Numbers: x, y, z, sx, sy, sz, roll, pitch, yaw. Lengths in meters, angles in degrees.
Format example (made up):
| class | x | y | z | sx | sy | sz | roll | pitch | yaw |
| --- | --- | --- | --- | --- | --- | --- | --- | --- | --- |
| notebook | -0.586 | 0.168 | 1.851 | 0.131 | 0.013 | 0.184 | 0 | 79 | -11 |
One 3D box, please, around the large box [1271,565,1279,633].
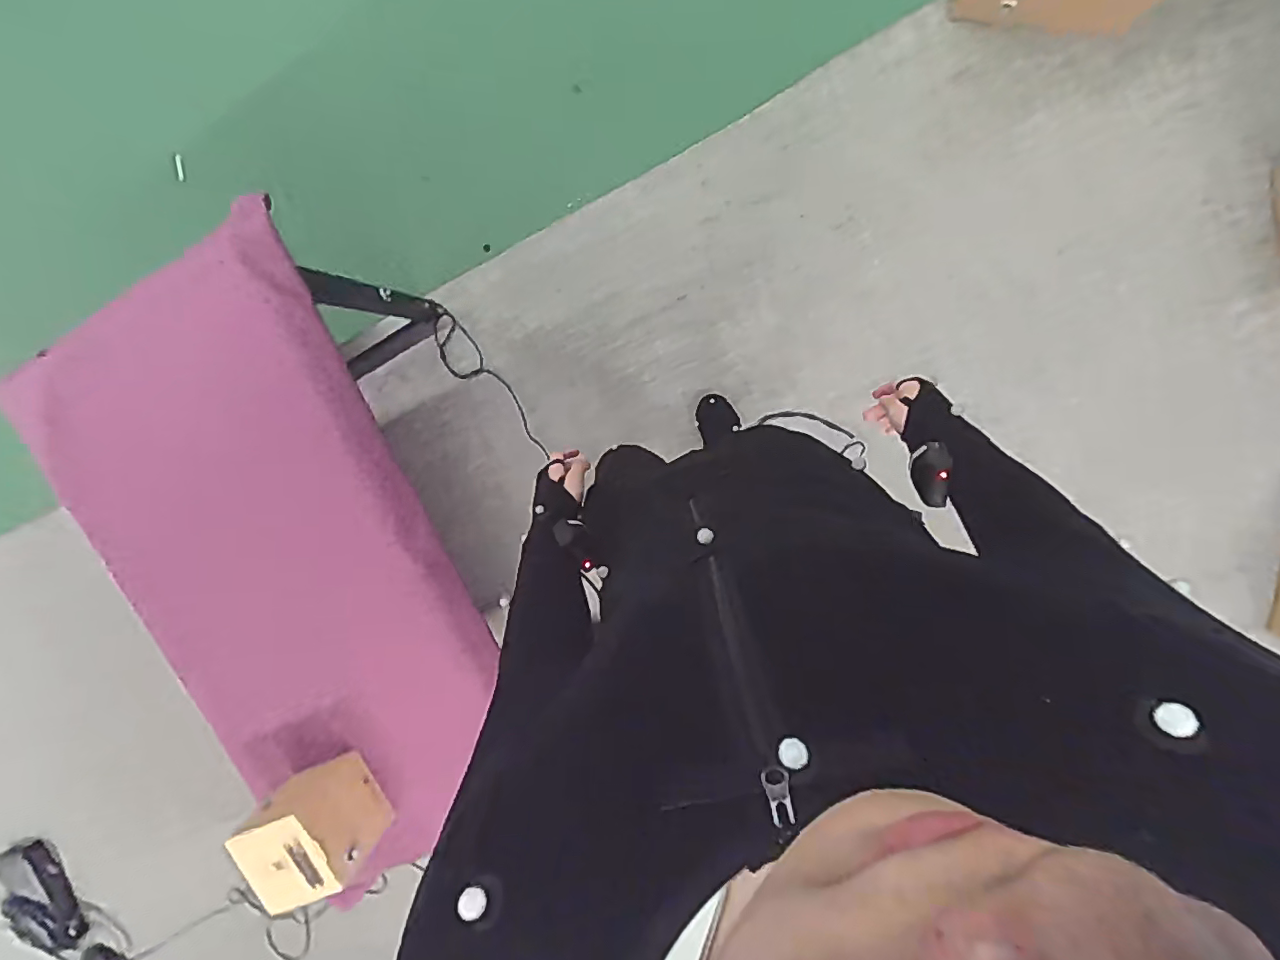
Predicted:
| class | x | y | z | sx | sy | sz | roll | pitch | yaw |
| --- | --- | --- | --- | --- | --- | --- | --- | --- | --- |
| large box | 1.868 | 0.244 | 1.304 | 0.320 | 0.320 | 0.408 | -1 | 100 | 7 |
